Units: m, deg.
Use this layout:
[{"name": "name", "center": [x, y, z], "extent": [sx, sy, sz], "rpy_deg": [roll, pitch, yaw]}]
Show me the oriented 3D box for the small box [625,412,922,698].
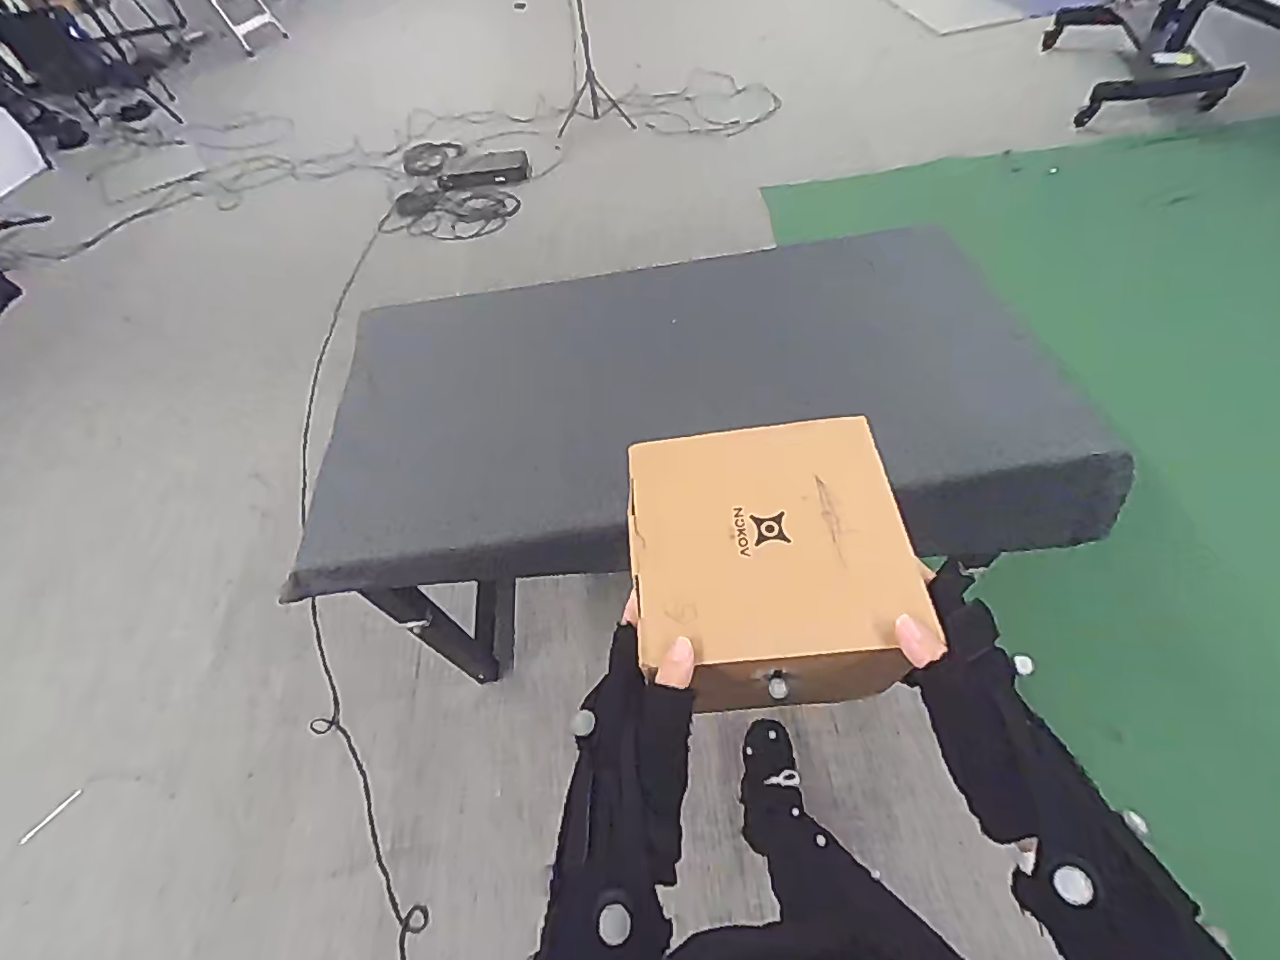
[{"name": "small box", "center": [0.089, 0.070, 0.436], "extent": [0.179, 0.176, 0.168], "rpy_deg": [-7, 58, 3]}]
